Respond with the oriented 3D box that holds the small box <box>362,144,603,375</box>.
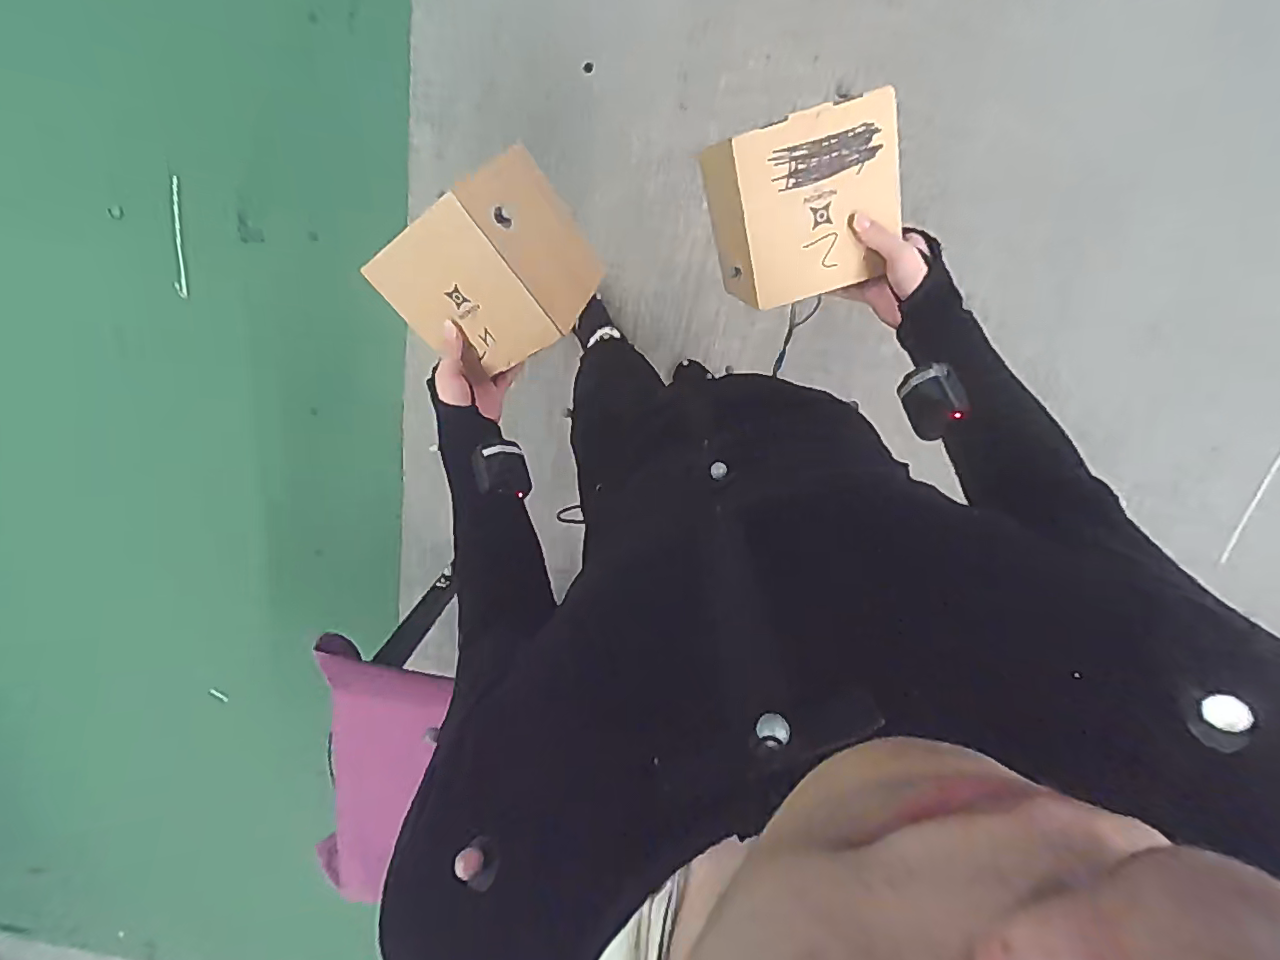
[{"bbox_3d":[-0.172,-0.262,0.638,0.168,0.176,0.179,-16,127,34],"label":"small box"}]
